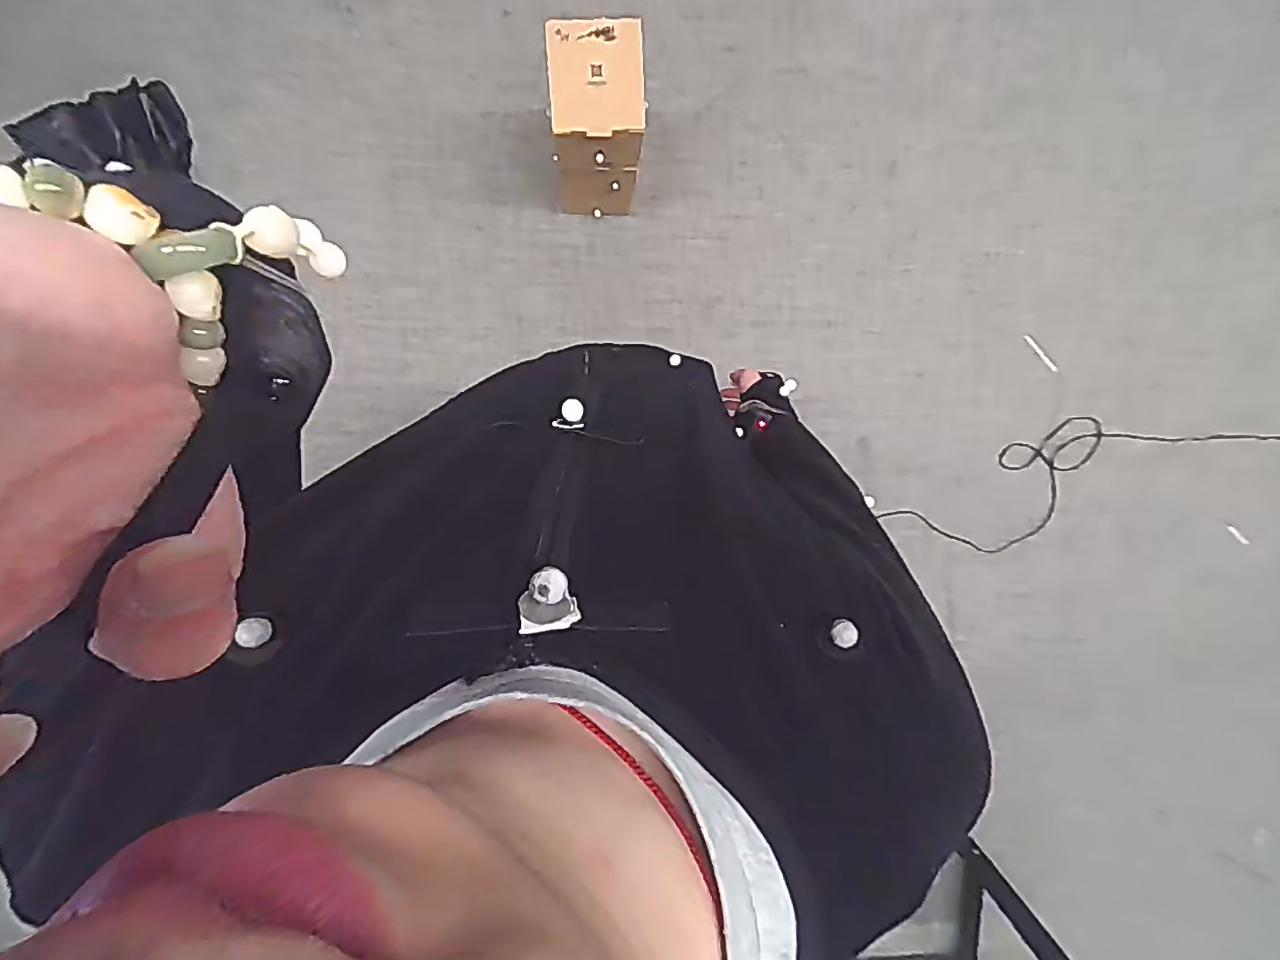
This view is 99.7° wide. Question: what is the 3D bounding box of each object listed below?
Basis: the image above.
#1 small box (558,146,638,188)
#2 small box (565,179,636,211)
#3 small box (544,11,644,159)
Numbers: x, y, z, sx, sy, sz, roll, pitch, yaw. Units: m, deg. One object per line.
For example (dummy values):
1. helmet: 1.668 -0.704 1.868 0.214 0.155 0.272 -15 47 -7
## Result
1. small box: -0.087 -0.742 1.154 0.168 0.176 0.179 -2 100 -3
2. small box: -0.094 -0.773 1.312 0.168 0.176 0.179 0 101 -2
3. small box: -0.078 -0.710 0.994 0.168 0.176 0.179 -3 102 -2
